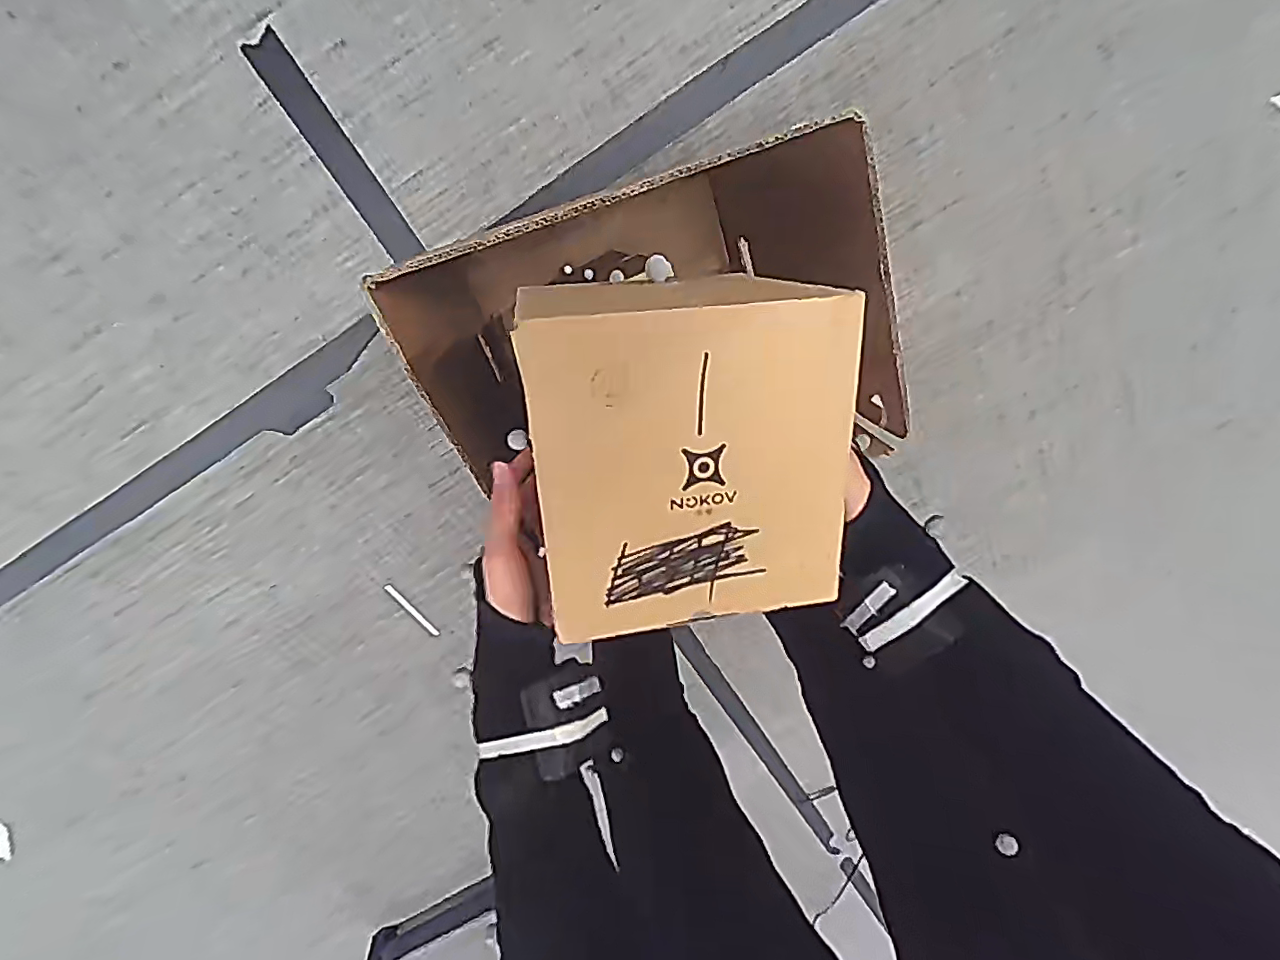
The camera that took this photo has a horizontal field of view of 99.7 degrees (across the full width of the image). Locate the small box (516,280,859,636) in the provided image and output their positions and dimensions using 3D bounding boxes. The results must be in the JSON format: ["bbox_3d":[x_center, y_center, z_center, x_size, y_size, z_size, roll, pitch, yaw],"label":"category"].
[{"bbox_3d":[0.014,-0.030,0.355,0.168,0.176,0.179,-7,114,-10],"label":"small box"}]
